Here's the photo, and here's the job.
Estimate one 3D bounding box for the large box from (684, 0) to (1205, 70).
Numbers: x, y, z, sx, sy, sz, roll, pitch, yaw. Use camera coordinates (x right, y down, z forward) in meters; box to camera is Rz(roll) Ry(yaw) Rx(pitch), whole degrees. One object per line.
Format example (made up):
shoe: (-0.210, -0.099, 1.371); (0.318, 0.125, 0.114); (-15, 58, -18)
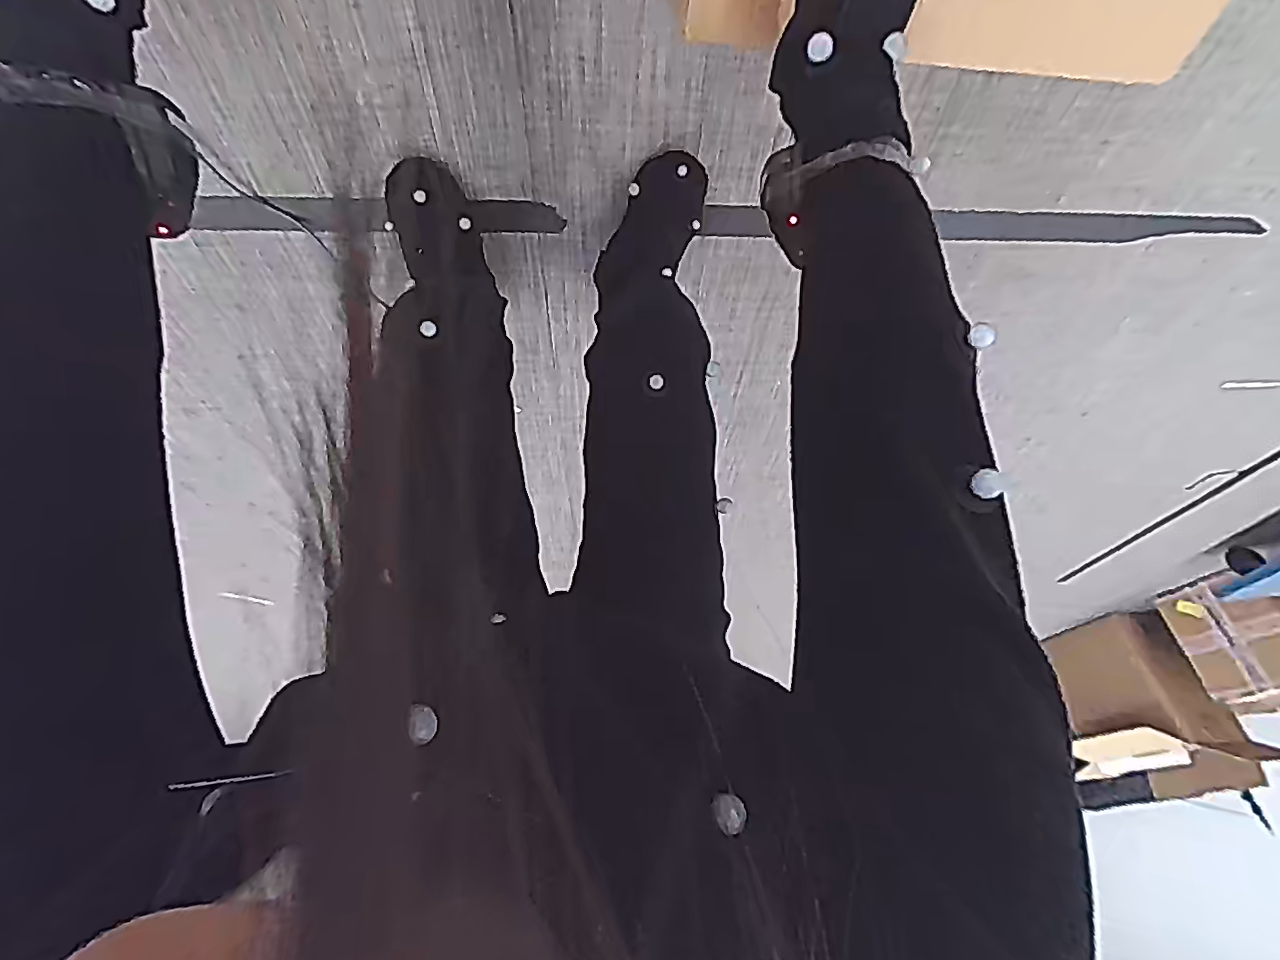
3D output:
large box: (0.233, -0.547, 0.388); (0.408, 0.320, 0.320); (-2, 147, -8)
